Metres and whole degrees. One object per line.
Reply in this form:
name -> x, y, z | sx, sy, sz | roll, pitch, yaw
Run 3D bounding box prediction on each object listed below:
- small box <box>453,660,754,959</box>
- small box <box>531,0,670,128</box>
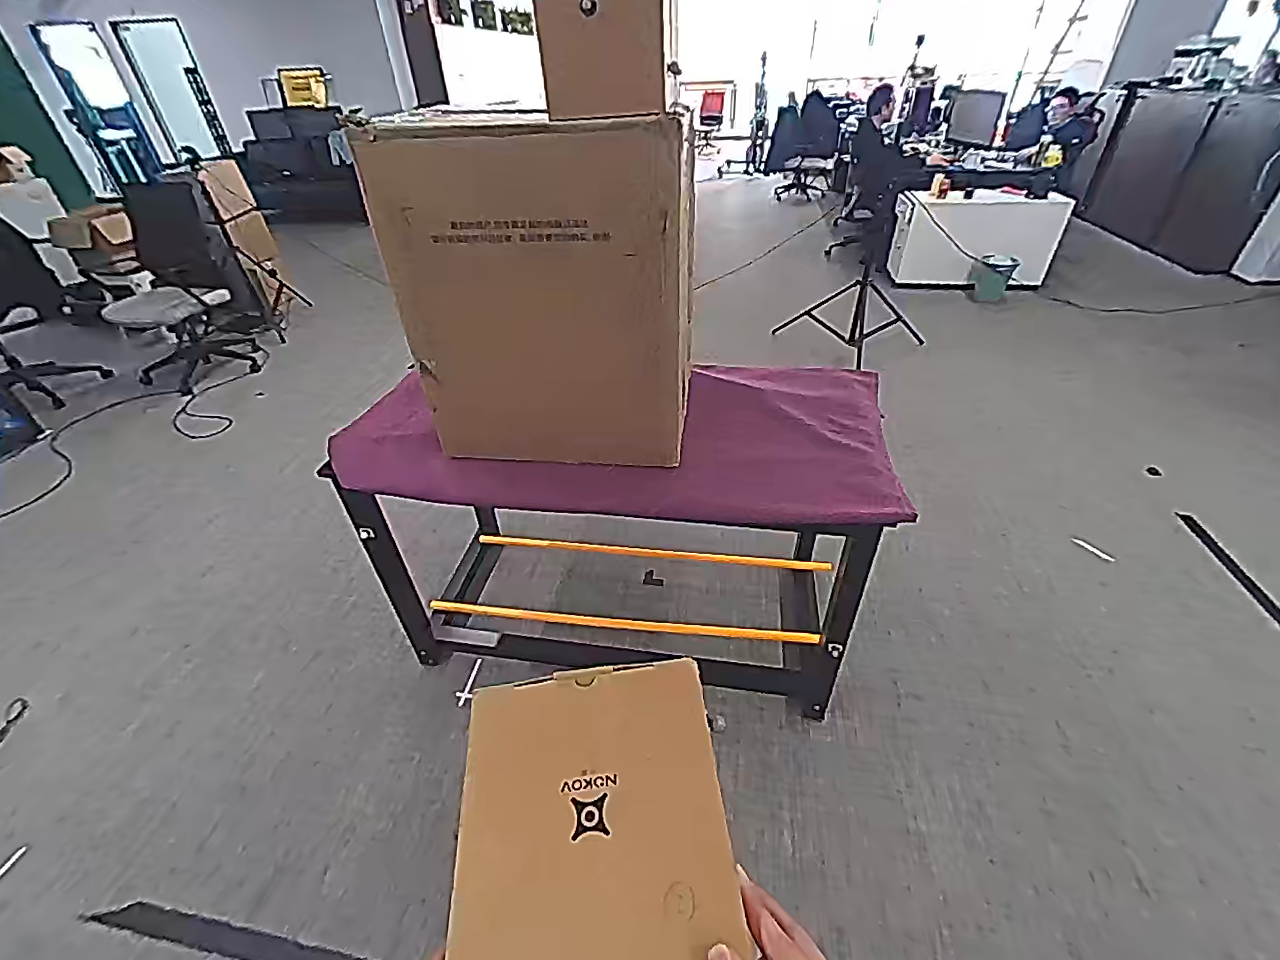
small box -> -0.020, 0.260, 0.393 | 0.168, 0.176, 0.179 | -9, 46, -1
small box -> -0.049, -0.631, 0.801 | 0.179, 0.176, 0.168 | 0, 38, 6
